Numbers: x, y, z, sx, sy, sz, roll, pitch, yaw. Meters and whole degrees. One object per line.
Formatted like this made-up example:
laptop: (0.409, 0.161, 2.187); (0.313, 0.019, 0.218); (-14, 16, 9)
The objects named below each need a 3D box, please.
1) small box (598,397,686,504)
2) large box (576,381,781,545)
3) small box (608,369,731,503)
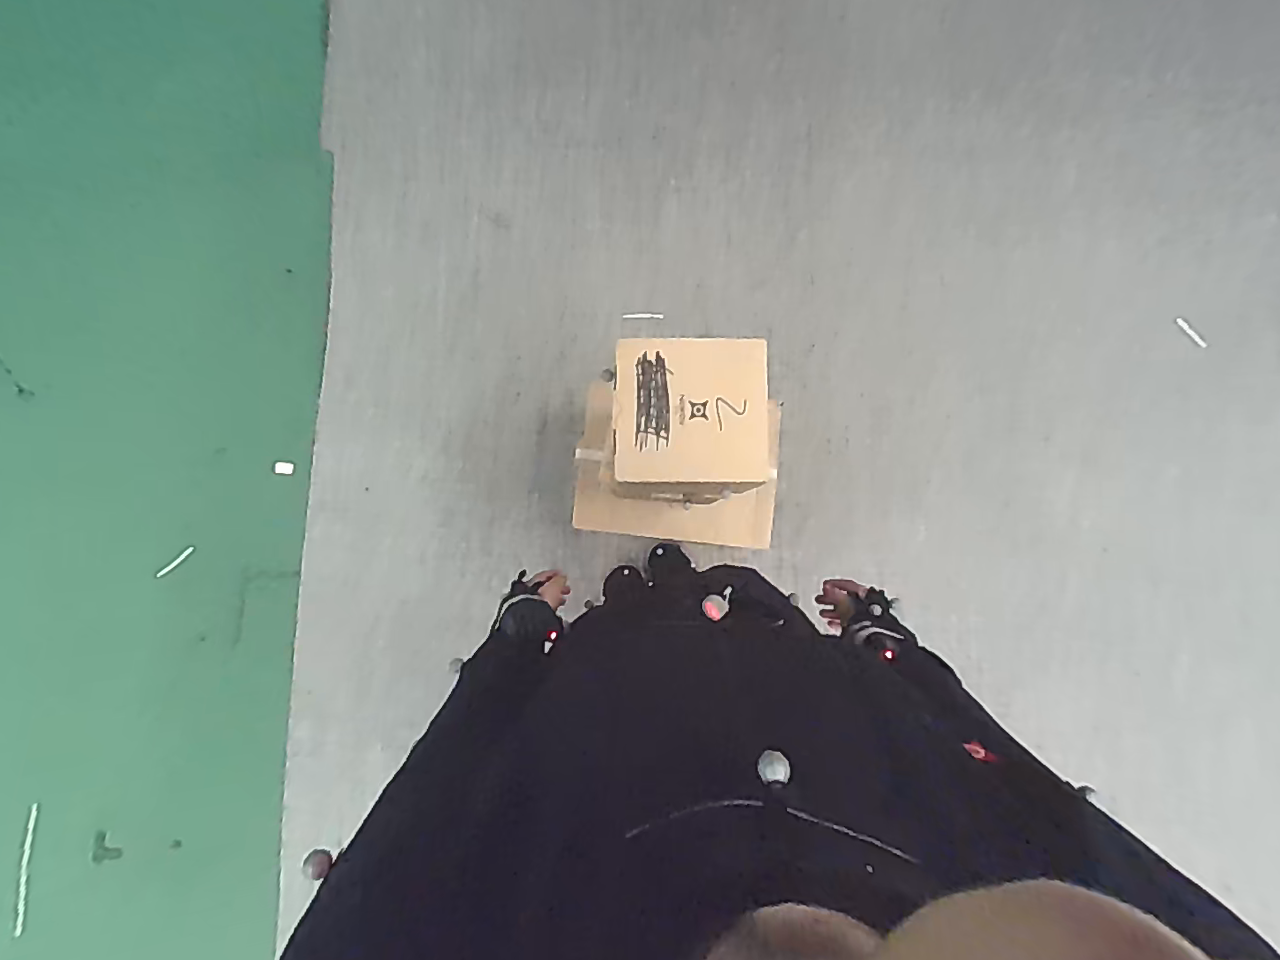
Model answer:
small box: (0.030, -0.053, 1.008); (0.179, 0.176, 0.168); (12, 84, 2)
large box: (0.080, -0.022, 1.247); (0.408, 0.320, 0.320); (6, 85, 1)
small box: (0.043, -0.059, 0.845); (0.168, 0.176, 0.179); (4, 83, 0)
